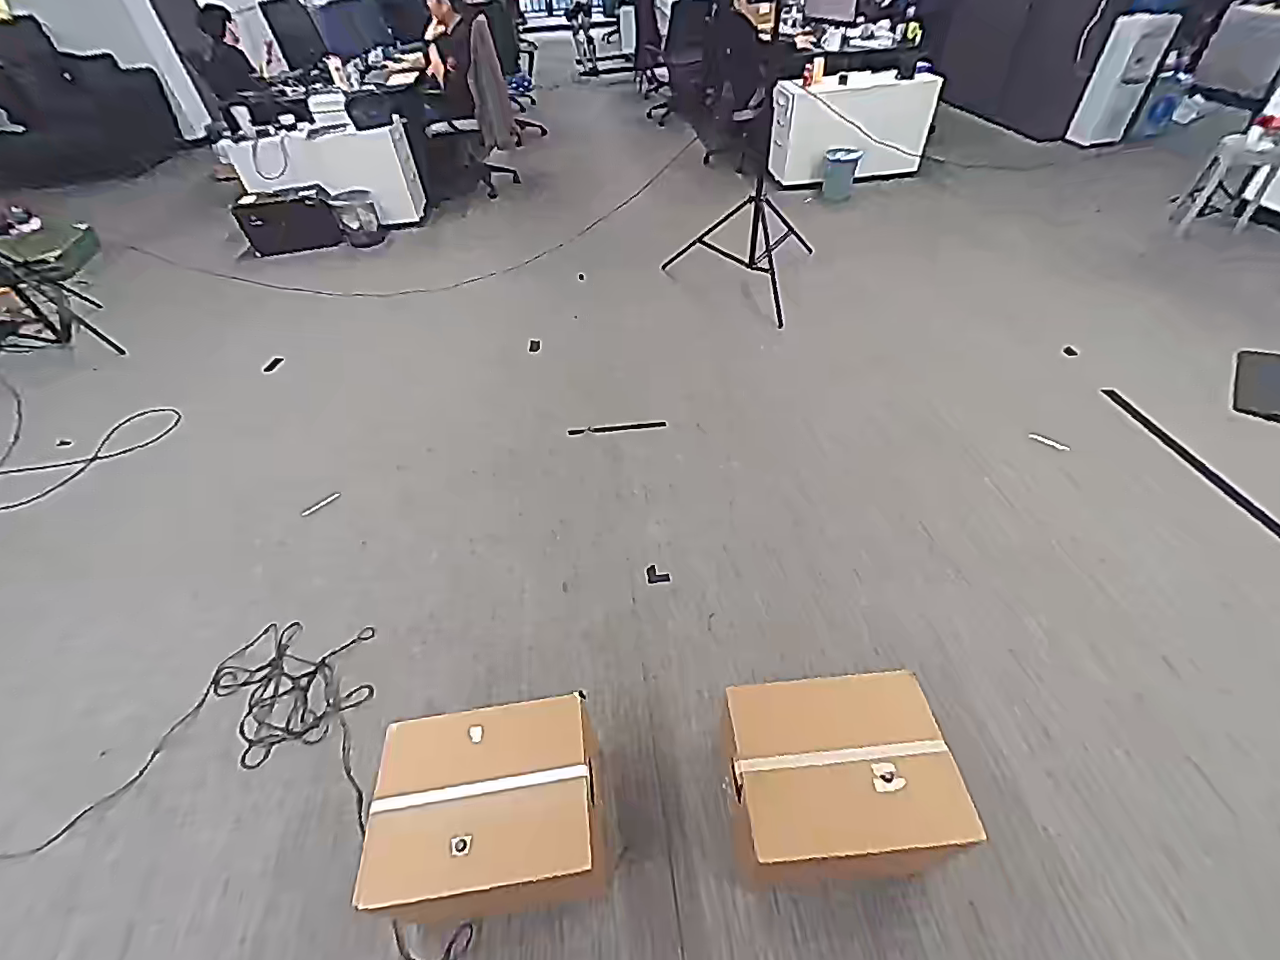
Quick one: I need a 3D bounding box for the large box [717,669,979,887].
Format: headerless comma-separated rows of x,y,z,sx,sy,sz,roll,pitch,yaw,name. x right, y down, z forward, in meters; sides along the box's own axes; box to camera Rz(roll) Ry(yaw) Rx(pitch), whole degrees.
0.396,0.637,1.154,0.408,0.320,0.320,-4,46,-1,large box
